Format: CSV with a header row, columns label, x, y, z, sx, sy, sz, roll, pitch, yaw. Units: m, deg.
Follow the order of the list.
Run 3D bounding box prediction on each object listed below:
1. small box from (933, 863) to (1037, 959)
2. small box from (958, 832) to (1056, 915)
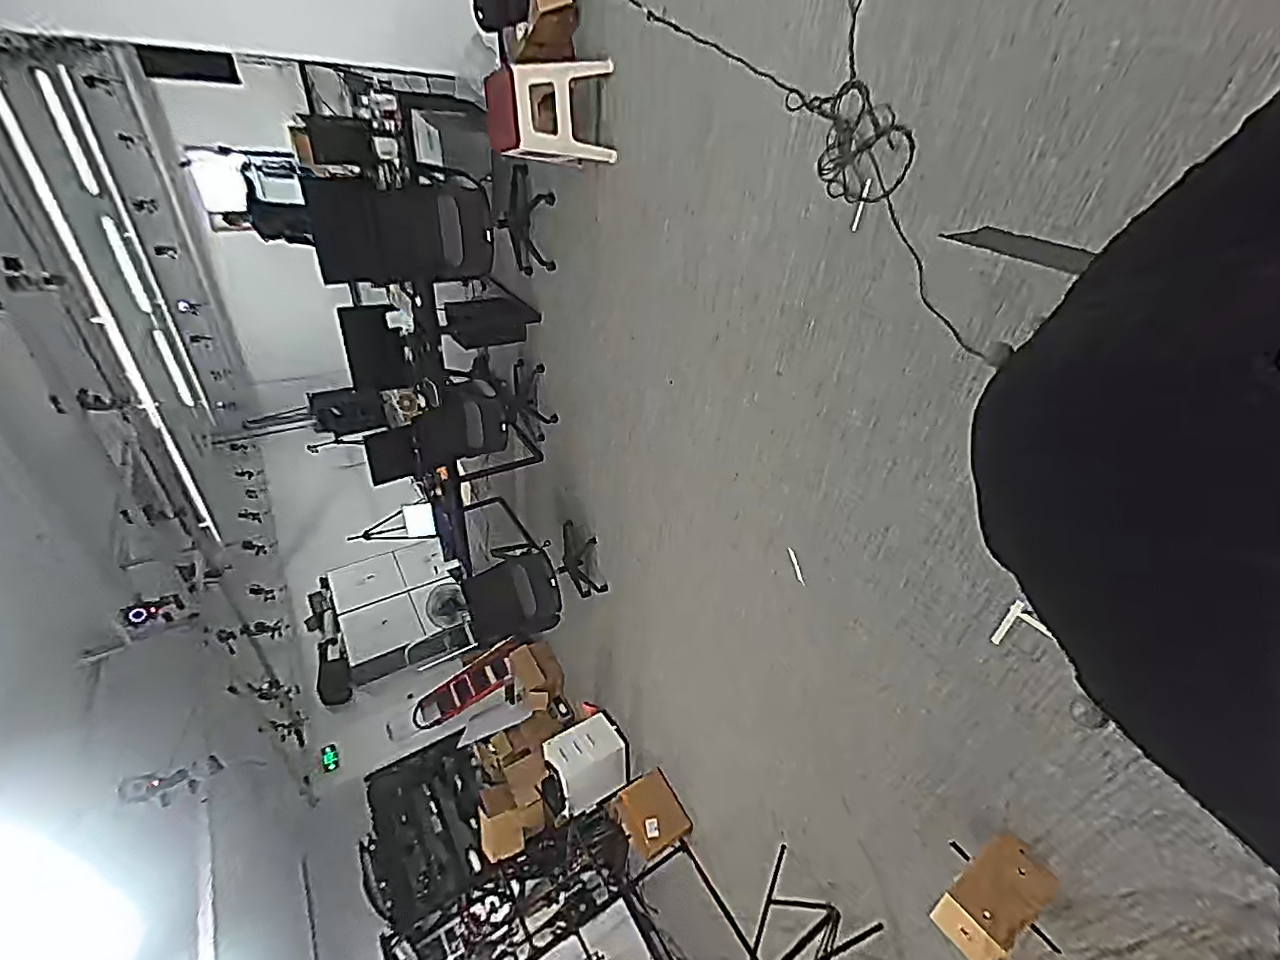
label,x,y,z,sx,sy,sz,roll,pitch,yaw
small box,1.016,1.282,1.597,0.179,0.176,0.168,38,136,44
small box,1.148,1.243,1.685,0.168,0.176,0.179,47,143,38
